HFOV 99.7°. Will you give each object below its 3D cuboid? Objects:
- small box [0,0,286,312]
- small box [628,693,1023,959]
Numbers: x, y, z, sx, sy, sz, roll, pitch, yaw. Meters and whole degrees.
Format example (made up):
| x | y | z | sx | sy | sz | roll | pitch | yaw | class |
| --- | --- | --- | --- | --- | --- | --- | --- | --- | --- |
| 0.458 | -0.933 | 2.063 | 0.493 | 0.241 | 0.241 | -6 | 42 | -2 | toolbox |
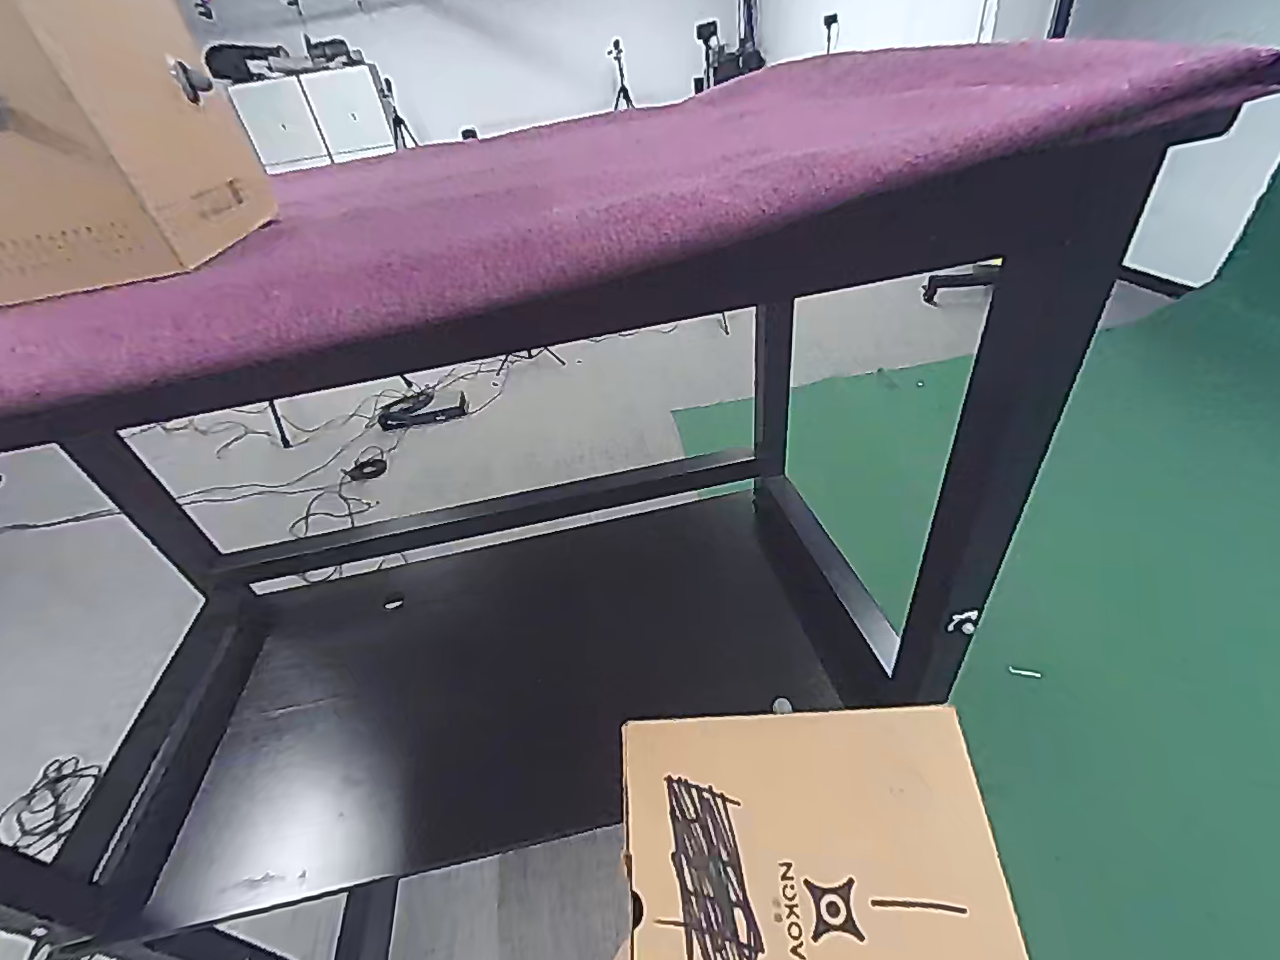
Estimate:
| x | y | z | sx | sy | sz | roll | pitch | yaw | class |
| --- | --- | --- | --- | --- | --- | --- | --- | --- | --- |
| -0.363 | -0.216 | 0.329 | 0.179 | 0.176 | 0.168 | -13 | 37 | -4 | small box |
| 0.092 | 0.230 | 0.328 | 0.179 | 0.176 | 0.168 | -5 | 61 | 5 | small box |
